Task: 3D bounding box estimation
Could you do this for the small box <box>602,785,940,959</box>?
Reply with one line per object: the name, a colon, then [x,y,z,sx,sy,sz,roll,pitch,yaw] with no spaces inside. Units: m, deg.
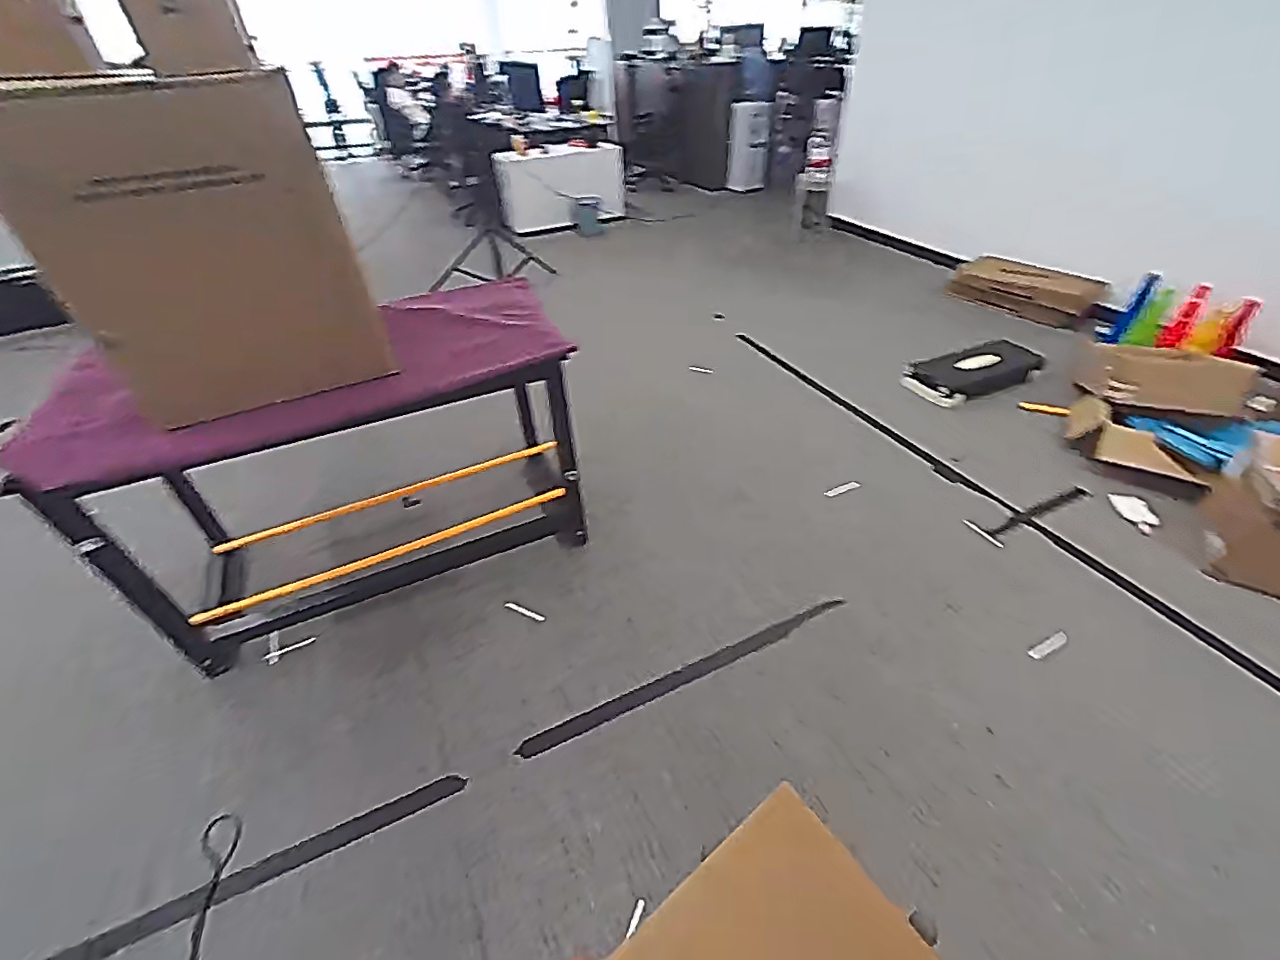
small box: [0.088,0.328,0.317,0.168,0.176,0.179,-35,52,-18]
